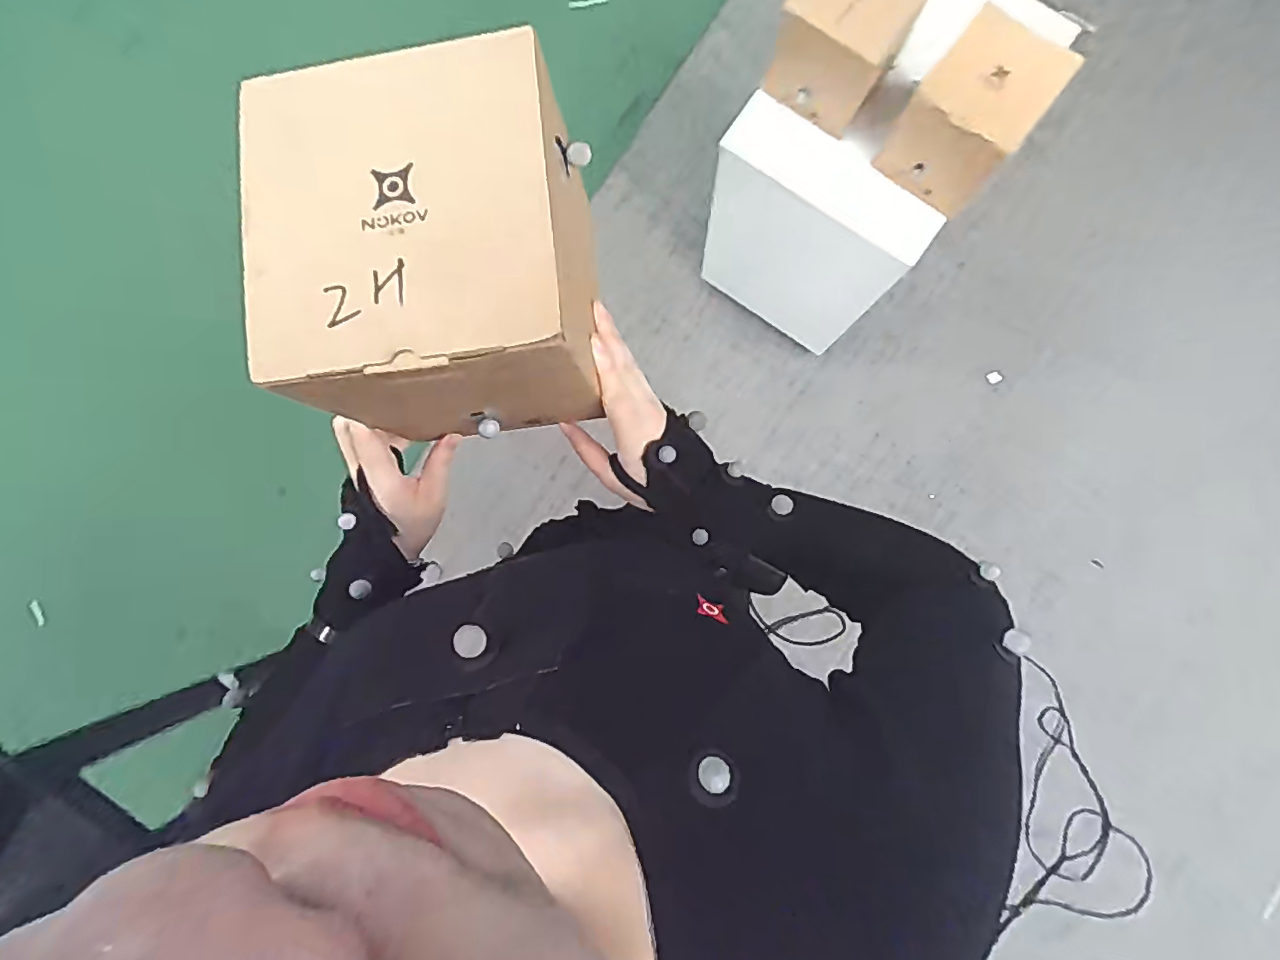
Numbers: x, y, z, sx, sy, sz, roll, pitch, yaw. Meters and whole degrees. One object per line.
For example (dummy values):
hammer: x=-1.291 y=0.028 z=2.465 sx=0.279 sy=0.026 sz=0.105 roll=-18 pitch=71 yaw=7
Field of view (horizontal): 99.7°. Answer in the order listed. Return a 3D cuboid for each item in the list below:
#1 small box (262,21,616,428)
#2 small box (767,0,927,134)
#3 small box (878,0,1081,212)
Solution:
small box: x=-0.112 y=-0.142 z=0.362 sx=0.168 sy=0.176 sz=0.179 roll=-6 pitch=84 yaw=5
small box: x=0.321 y=-0.705 z=0.852 sx=0.168 sy=0.176 sz=0.179 roll=35 pitch=90 yaw=3
small box: x=0.506 y=-0.566 z=0.838 sx=0.168 sy=0.176 sz=0.179 roll=37 pitch=90 yaw=4
